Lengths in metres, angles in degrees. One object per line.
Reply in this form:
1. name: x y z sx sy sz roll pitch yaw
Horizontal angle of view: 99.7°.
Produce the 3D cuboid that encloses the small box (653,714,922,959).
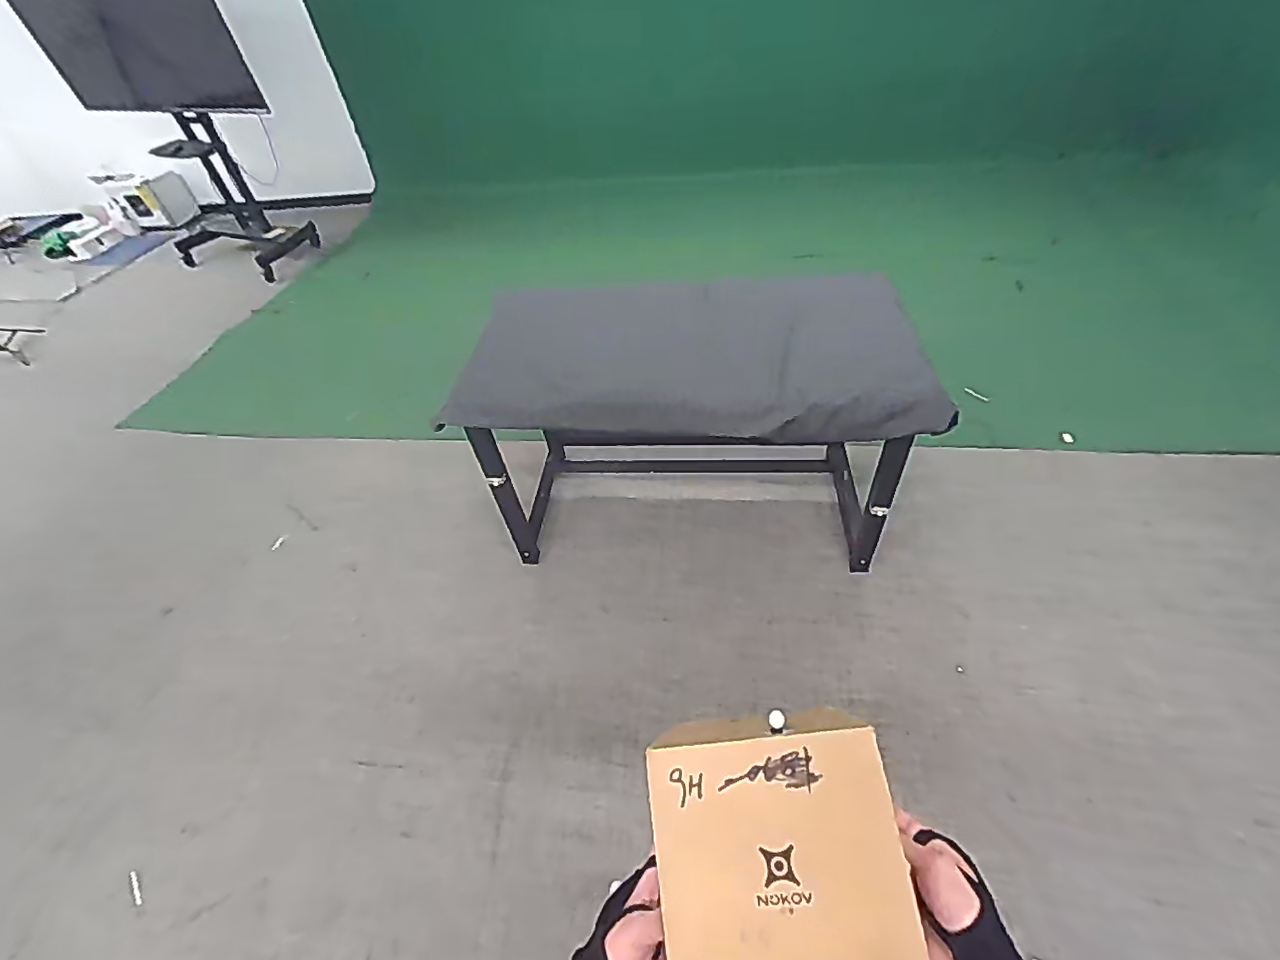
1. small box: 0.112 0.301 0.444 0.168 0.176 0.179 -9 71 8
